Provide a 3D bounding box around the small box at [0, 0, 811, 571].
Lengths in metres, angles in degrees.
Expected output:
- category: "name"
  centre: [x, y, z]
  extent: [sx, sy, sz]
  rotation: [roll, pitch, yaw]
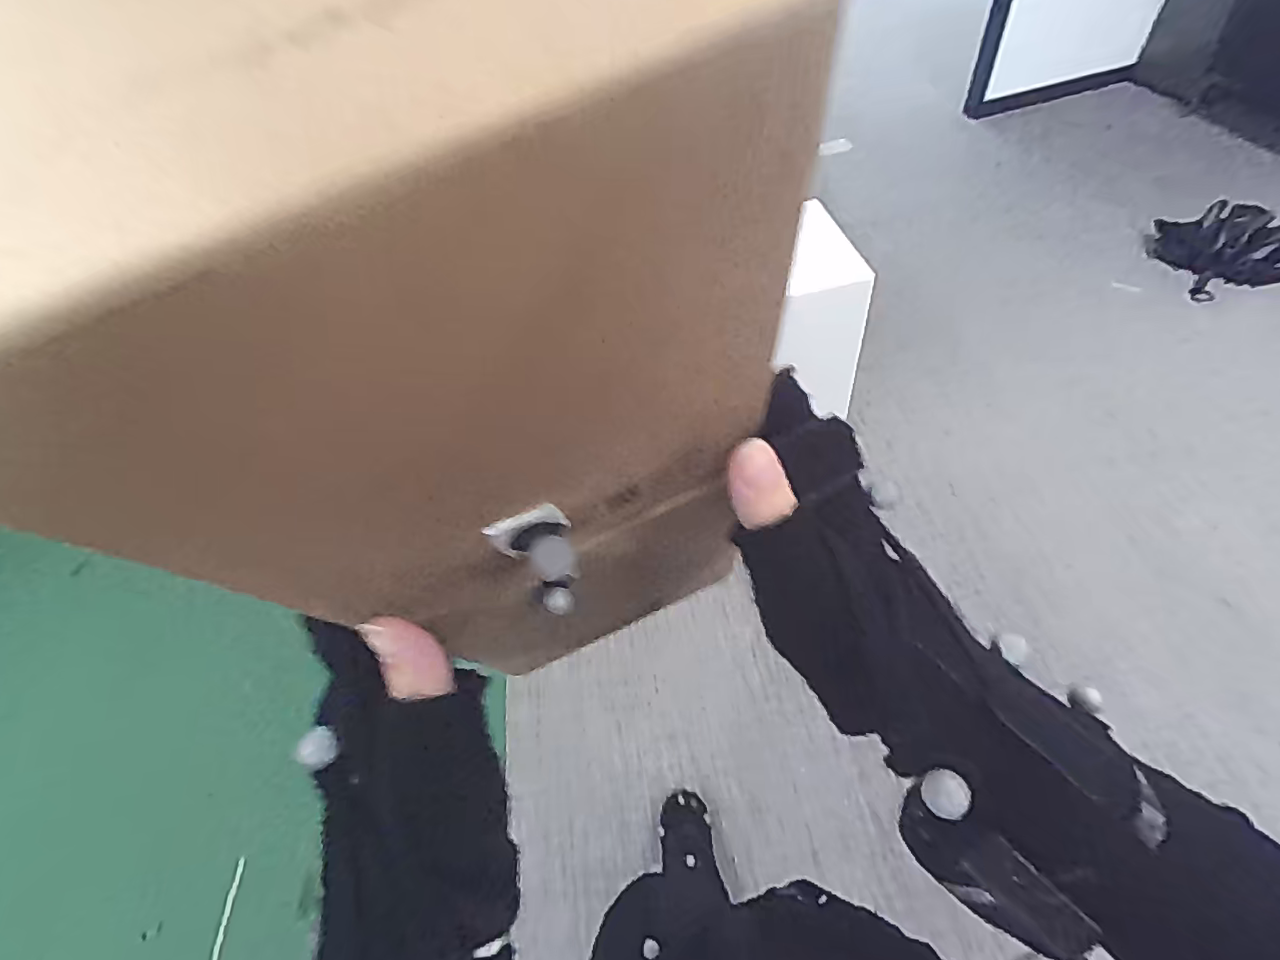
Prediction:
- category: "small box"
  centre: [-0.070, -0.094, 0.190]
  extent: [0.168, 0.176, 0.179]
  rotation: [-27, 66, -6]
